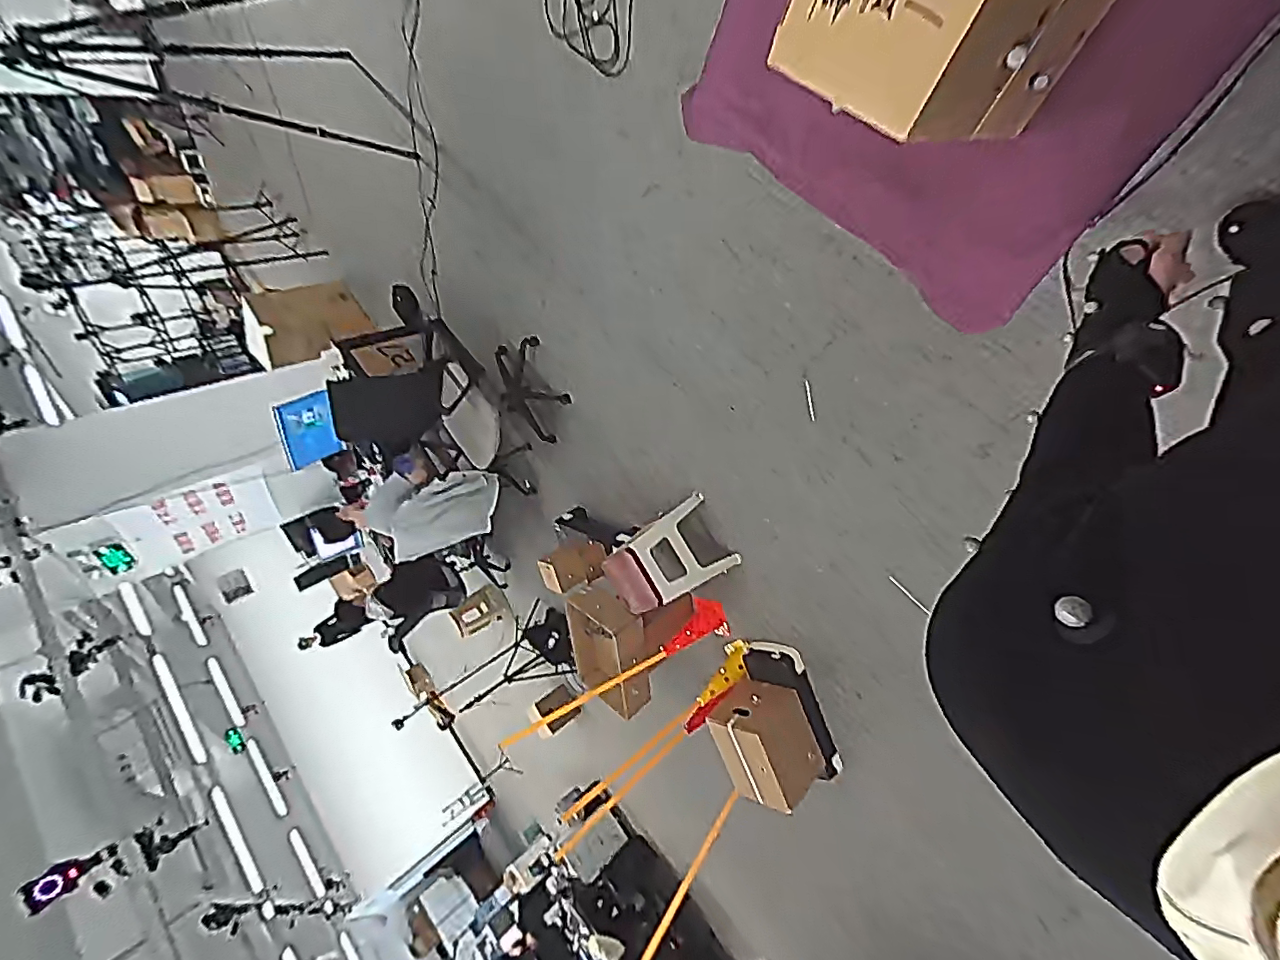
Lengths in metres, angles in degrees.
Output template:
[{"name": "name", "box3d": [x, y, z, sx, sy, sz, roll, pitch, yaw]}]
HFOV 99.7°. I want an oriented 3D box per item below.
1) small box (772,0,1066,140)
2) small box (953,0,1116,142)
[{"name": "small box", "box3d": [0.268, -0.448, 0.510, 0.179, 0.176, 0.168, 47, 143, 20]}, {"name": "small box", "box3d": [0.388, -0.509, 0.604, 0.179, 0.176, 0.168, 47, 142, 21]}]
